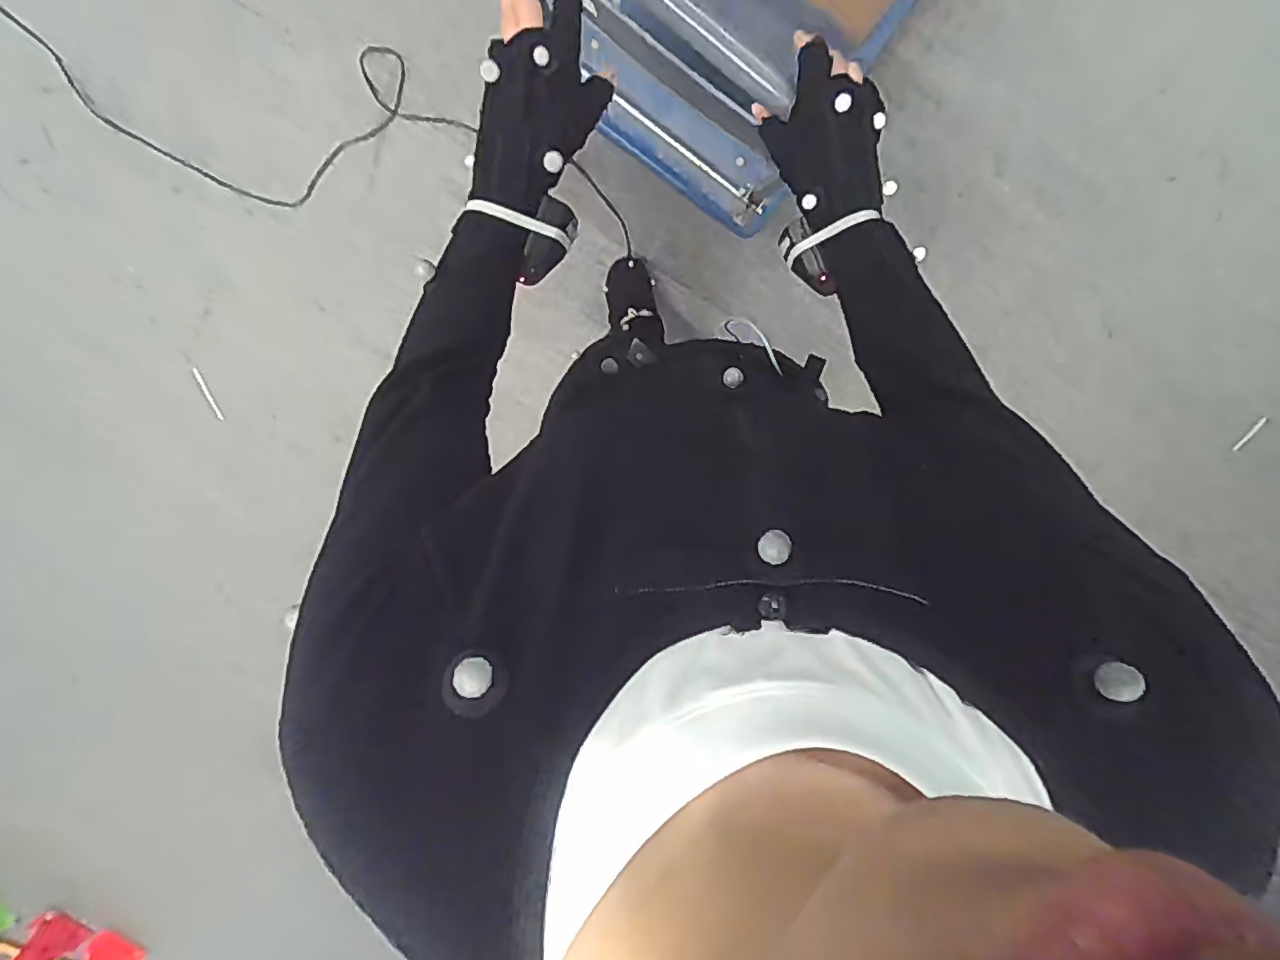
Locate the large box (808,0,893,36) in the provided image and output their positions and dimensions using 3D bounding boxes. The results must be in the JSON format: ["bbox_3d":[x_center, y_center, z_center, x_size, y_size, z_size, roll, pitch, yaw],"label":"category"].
[{"bbox_3d":[0.322,-1.010,0.821,0.408,0.320,0.320,31,106,-8],"label":"large box"}]
